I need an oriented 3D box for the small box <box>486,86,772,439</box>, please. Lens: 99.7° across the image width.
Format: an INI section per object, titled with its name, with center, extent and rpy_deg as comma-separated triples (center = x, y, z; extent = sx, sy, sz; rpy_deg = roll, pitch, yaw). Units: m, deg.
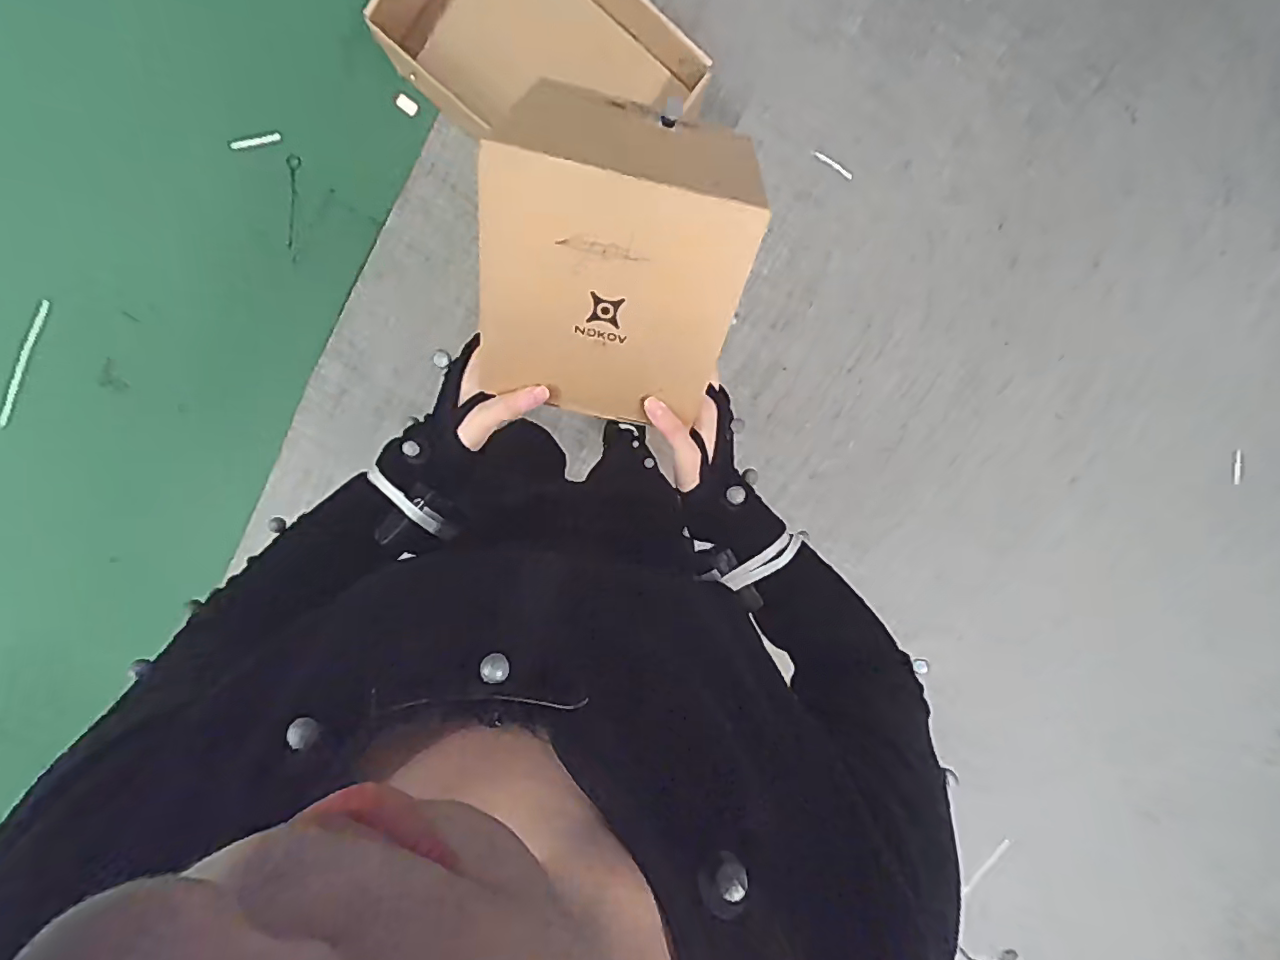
[small box]
center = -0.014, -0.163, 0.414
extent = 0.168, 0.176, 0.179
rpy_deg = 11, 136, -6
